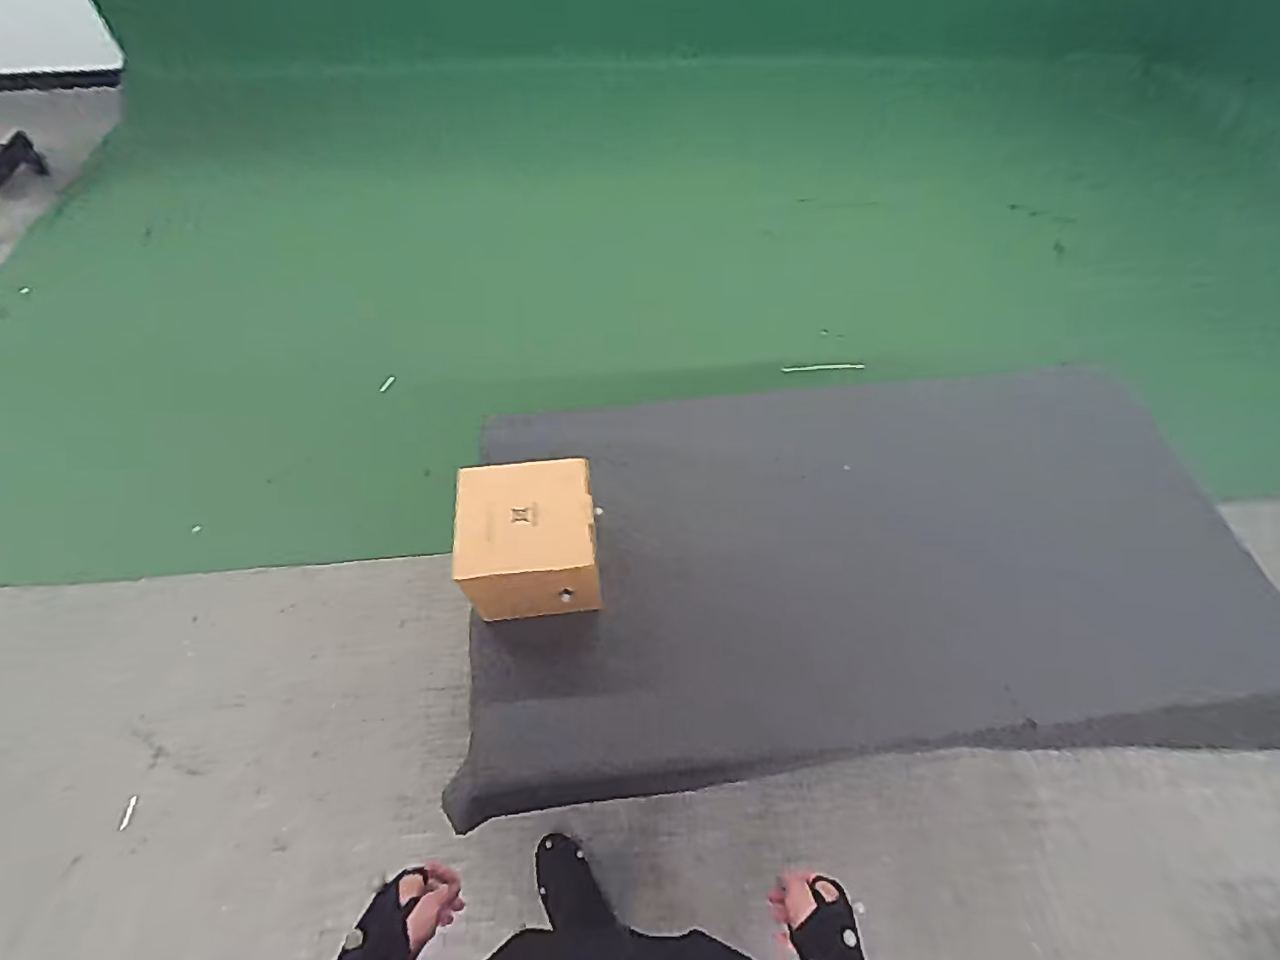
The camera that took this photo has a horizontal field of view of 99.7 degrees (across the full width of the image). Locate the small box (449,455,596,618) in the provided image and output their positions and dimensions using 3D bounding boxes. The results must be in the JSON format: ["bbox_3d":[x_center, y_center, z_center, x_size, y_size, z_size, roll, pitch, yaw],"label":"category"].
[{"bbox_3d":[-0.153,0.083,0.760,0.179,0.176,0.168,-5,57,-5],"label":"small box"}]
